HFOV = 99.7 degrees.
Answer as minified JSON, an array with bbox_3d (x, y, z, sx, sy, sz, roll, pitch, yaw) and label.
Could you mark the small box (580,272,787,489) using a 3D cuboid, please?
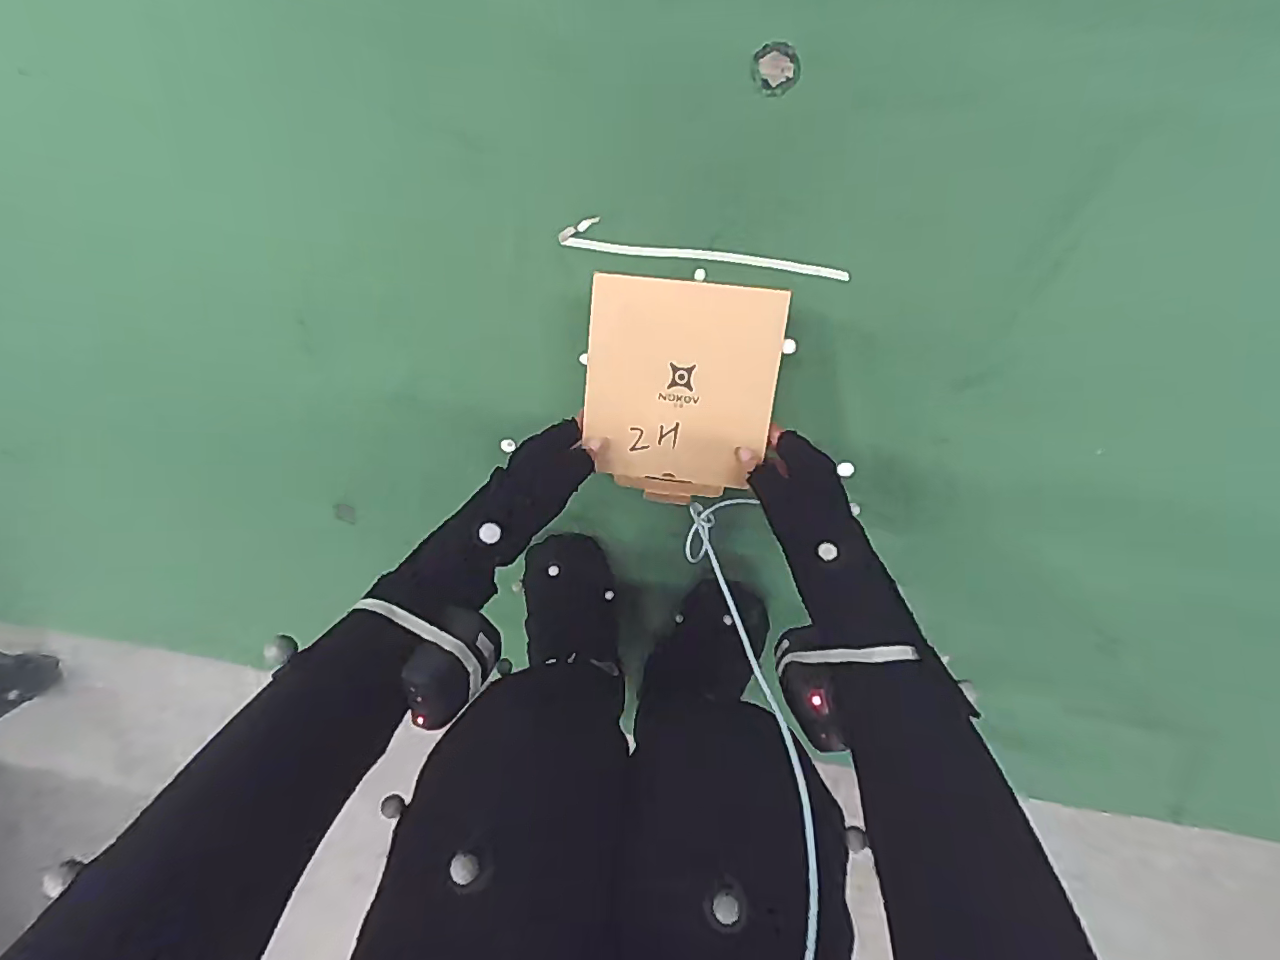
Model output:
[{"bbox_3d":[0.040,-0.106,0.552,0.168,0.176,0.179,7,108,4],"label":"small box"}]
